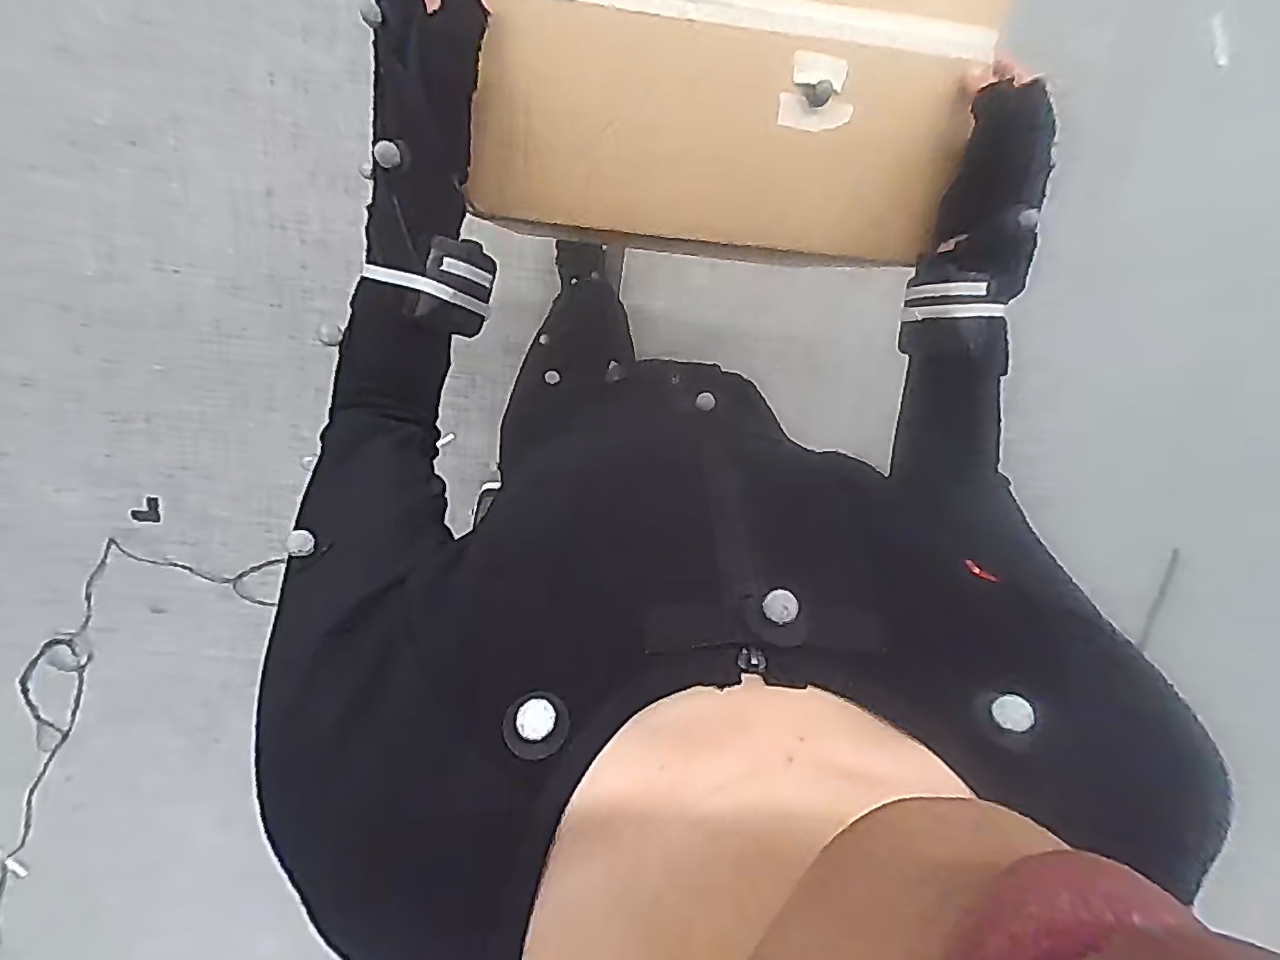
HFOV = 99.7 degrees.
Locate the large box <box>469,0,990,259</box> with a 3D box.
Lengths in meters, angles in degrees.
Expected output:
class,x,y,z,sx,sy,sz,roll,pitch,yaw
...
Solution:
class,x,y,z,sx,sy,sz,roll,pitch,yaw
large box,0.057,-0.408,0.546,0.408,0.320,0.320,3,111,-7
